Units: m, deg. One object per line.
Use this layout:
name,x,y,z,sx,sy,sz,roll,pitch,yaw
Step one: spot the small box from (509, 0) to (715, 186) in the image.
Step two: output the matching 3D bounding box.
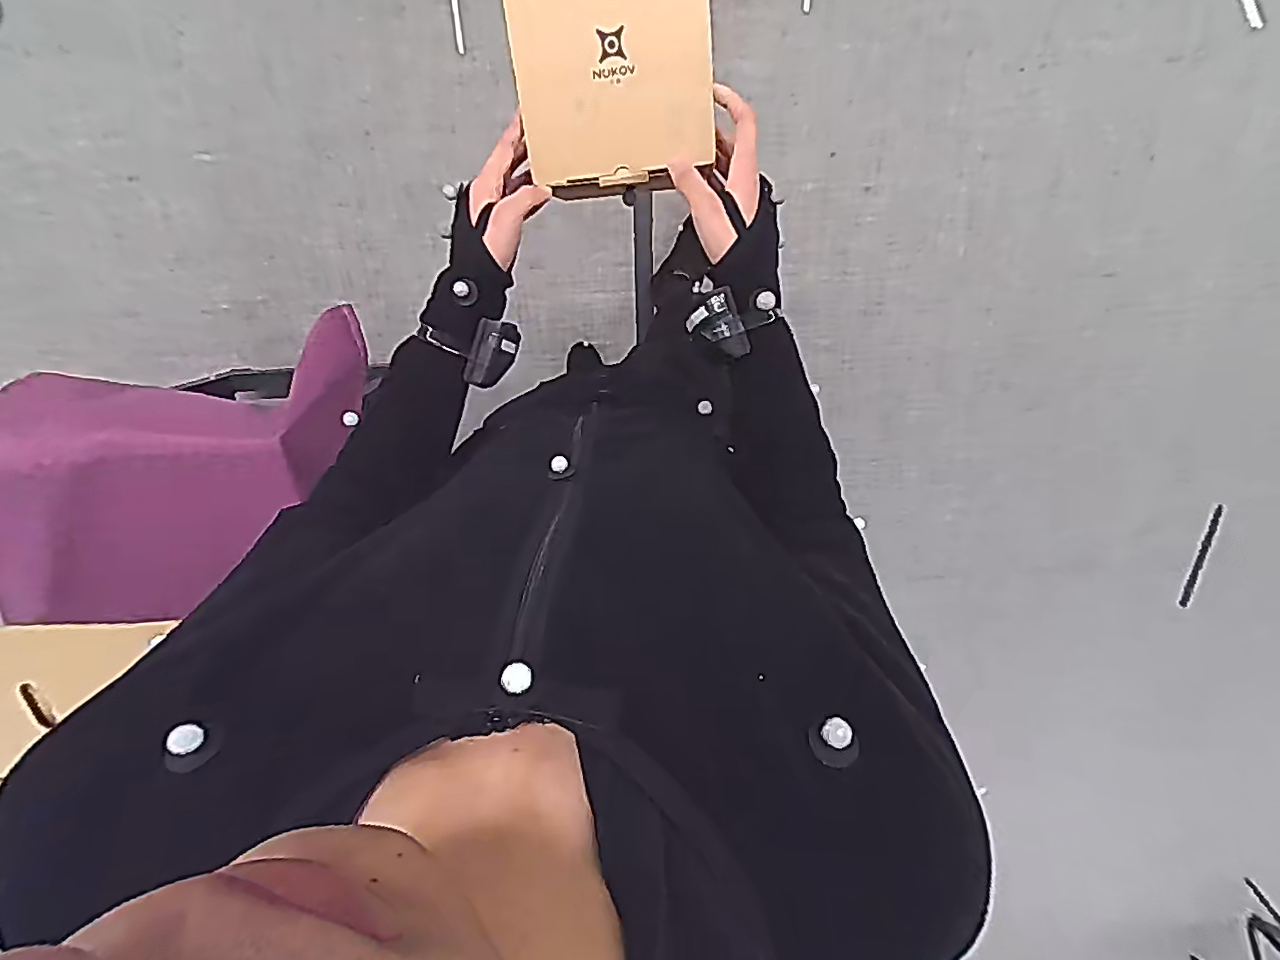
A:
small box,-0.017,-0.388,0.518,0.168,0.176,0.179,-4,114,4
